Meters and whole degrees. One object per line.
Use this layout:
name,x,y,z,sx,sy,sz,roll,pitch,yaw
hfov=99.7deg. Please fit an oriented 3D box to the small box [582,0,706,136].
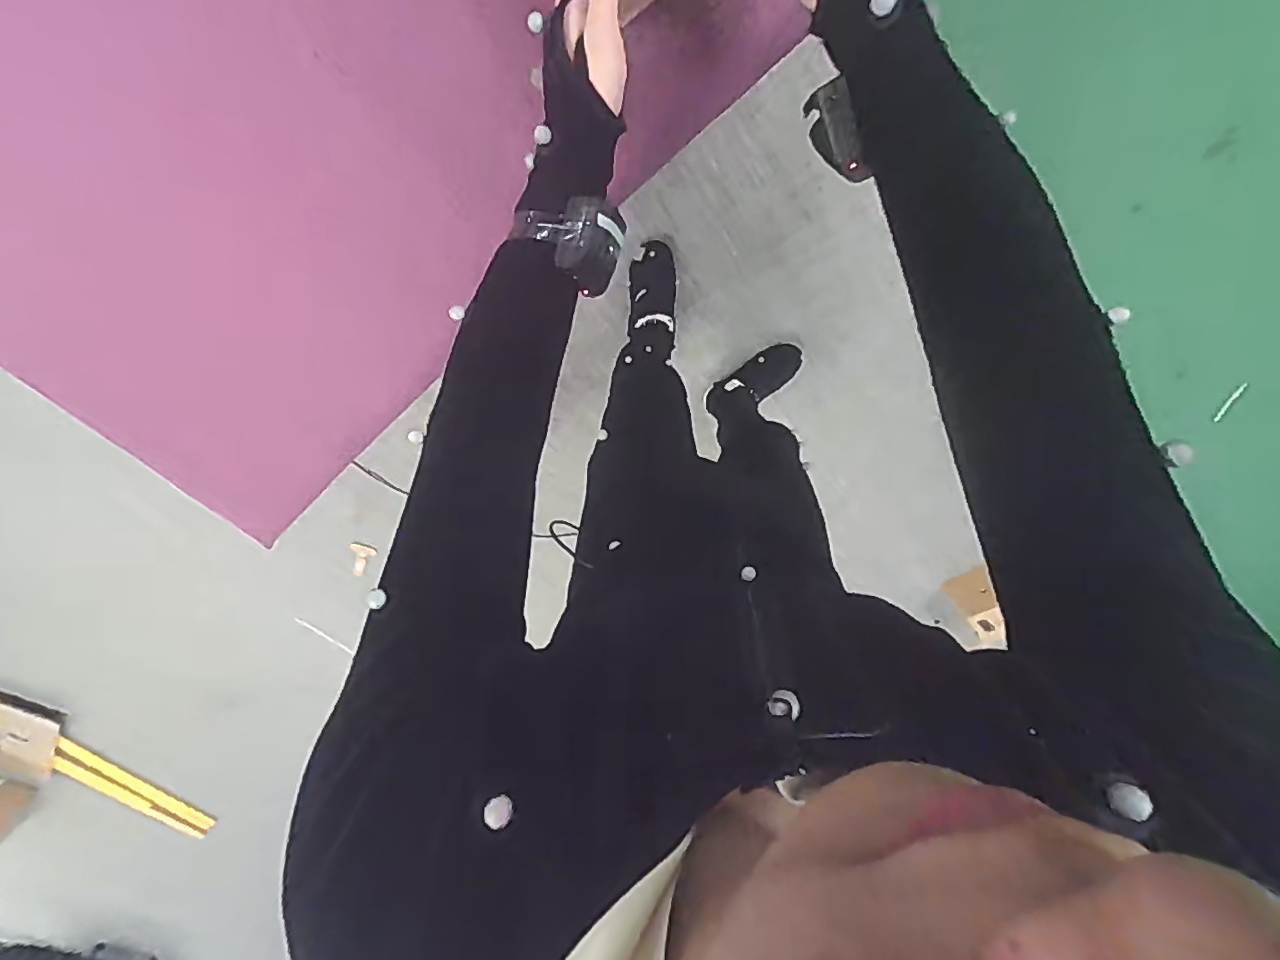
small box,0.007,-0.816,1.073,0.179,0.176,0.168,40,113,-21

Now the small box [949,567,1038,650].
small box,1.174,0.428,1.812,0.179,0.176,0.168,-34,116,18

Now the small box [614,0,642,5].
small box,0.003,-0.512,0.410,0.168,0.176,0.179,-28,116,17

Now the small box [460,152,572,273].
small box,-0.267,-0.600,1.208,0.168,0.176,0.179,40,114,-20
